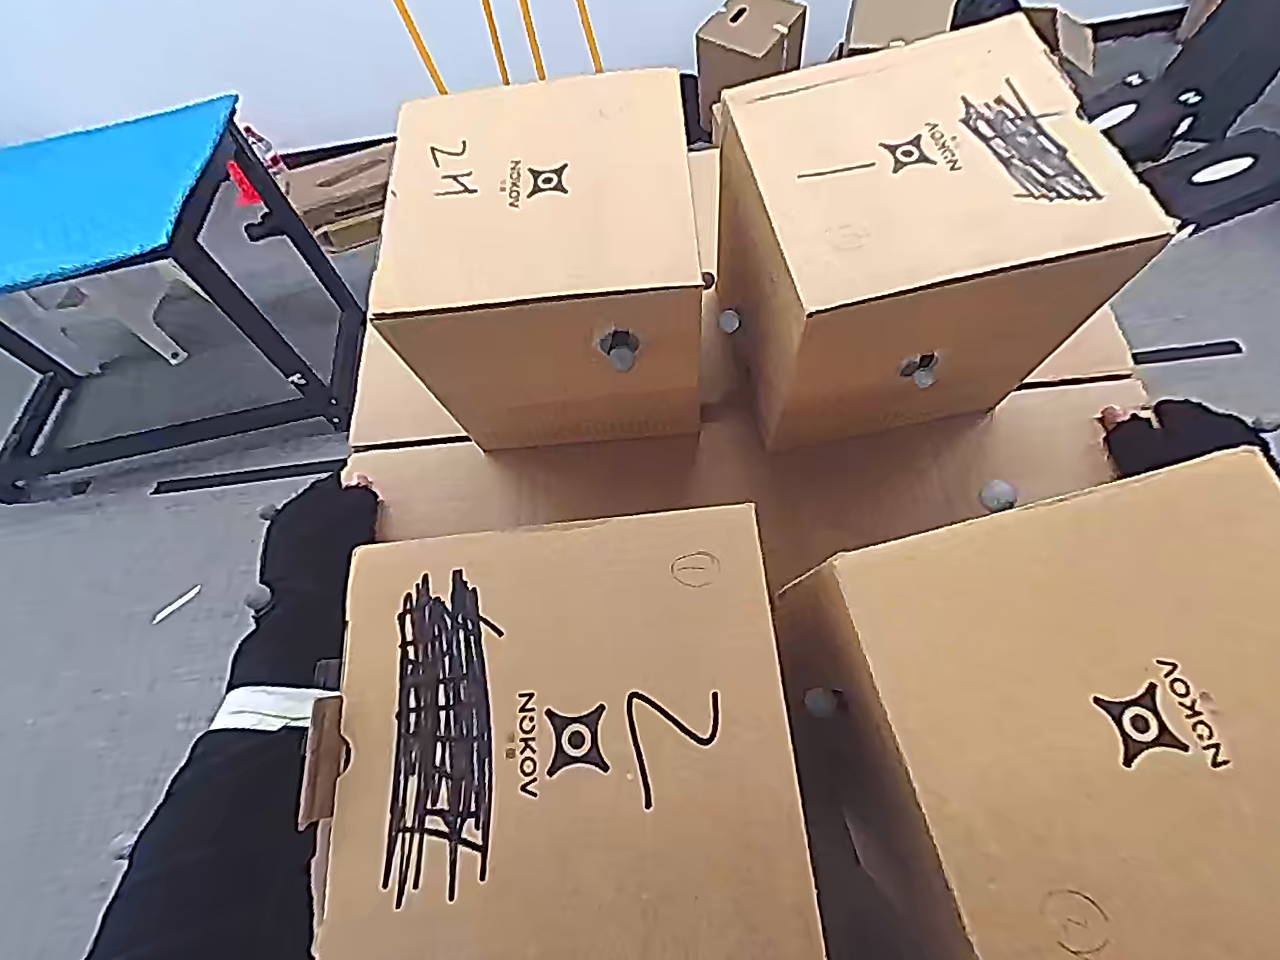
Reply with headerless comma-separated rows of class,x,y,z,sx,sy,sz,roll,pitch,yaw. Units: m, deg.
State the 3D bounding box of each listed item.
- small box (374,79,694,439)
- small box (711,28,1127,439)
small box,-0.054,-0.140,0.390,0.179,0.176,0.168,-4,68,5
small box,0.150,-0.147,0.369,0.179,0.176,0.168,-12,68,3
